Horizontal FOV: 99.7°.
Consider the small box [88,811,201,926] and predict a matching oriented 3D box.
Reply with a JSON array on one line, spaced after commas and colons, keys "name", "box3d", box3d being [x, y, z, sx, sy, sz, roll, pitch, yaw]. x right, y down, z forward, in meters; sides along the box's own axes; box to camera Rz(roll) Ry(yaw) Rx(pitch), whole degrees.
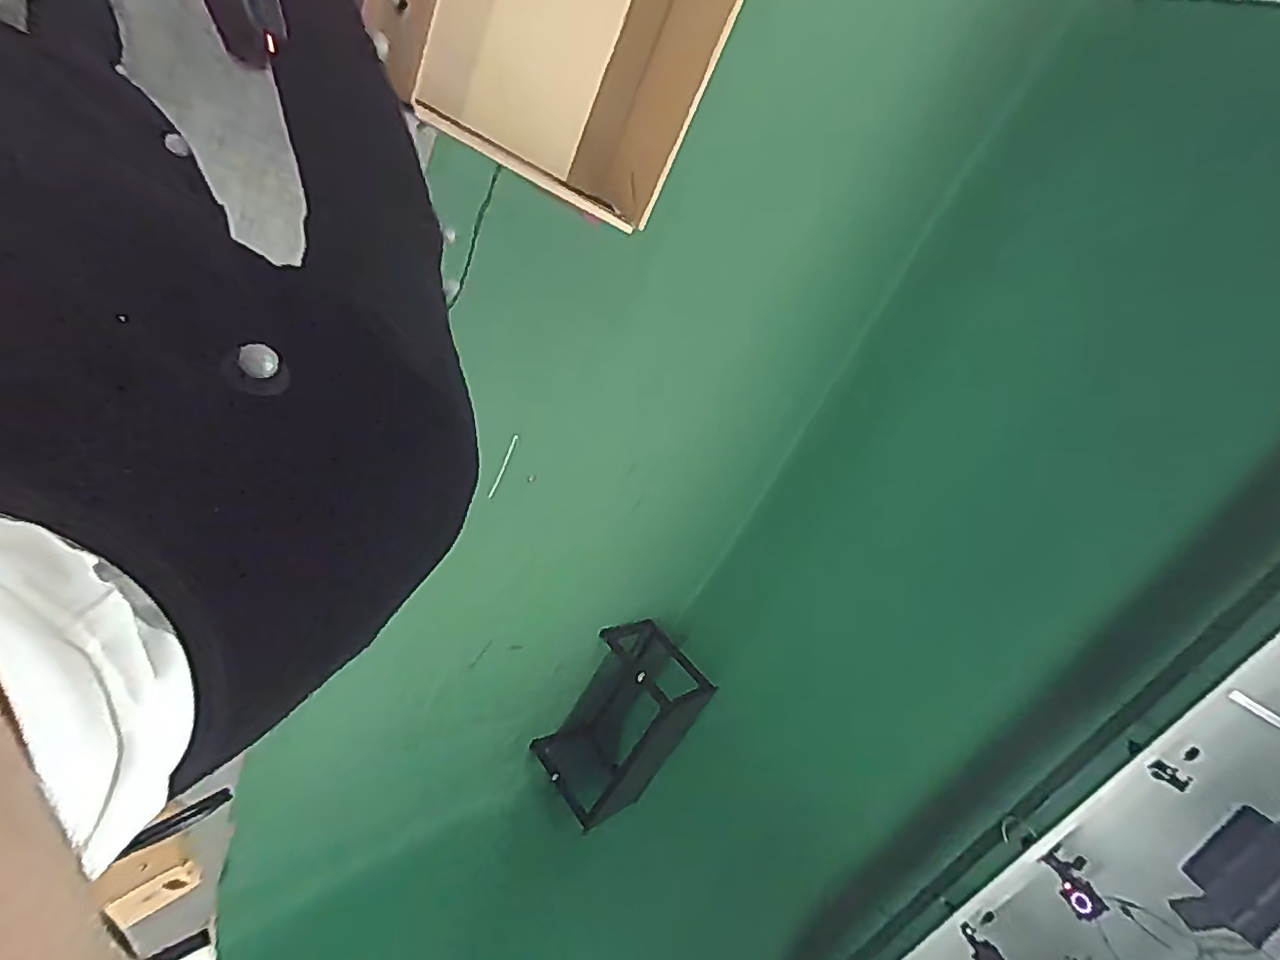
[{"name": "small box", "box3d": [-1.356, 1.056, 1.481, 0.179, 0.176, 0.168, -24, 140, -34]}]

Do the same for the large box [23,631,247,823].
[{"name": "large box", "box3d": [-1.563, 0.763, 1.698, 0.408, 0.320, 0.320, -30, 145, -29]}]
